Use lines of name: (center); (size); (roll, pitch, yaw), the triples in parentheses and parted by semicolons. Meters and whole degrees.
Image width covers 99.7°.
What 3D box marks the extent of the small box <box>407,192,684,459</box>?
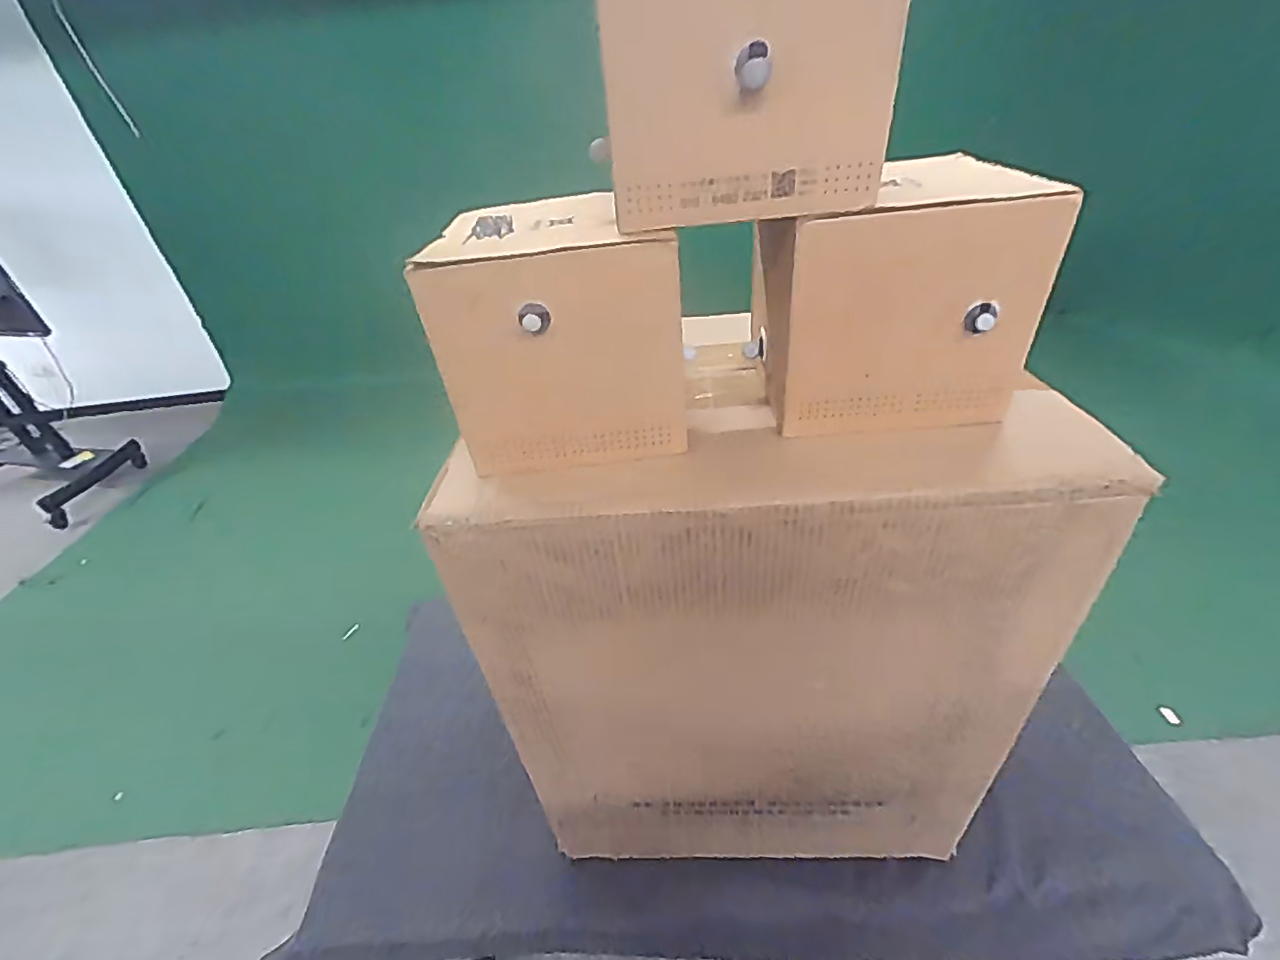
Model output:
small box: (-0.057, -0.131, 0.461); (0.179, 0.176, 0.168); (-4, 40, 6)

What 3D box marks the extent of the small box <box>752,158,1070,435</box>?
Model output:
small box: (0.193, -0.153, 0.453); (0.179, 0.176, 0.168); (-5, 37, 5)

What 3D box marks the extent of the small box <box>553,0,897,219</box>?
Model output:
small box: (0.058, -0.292, 0.372); (0.179, 0.176, 0.168); (-25, 40, -21)
